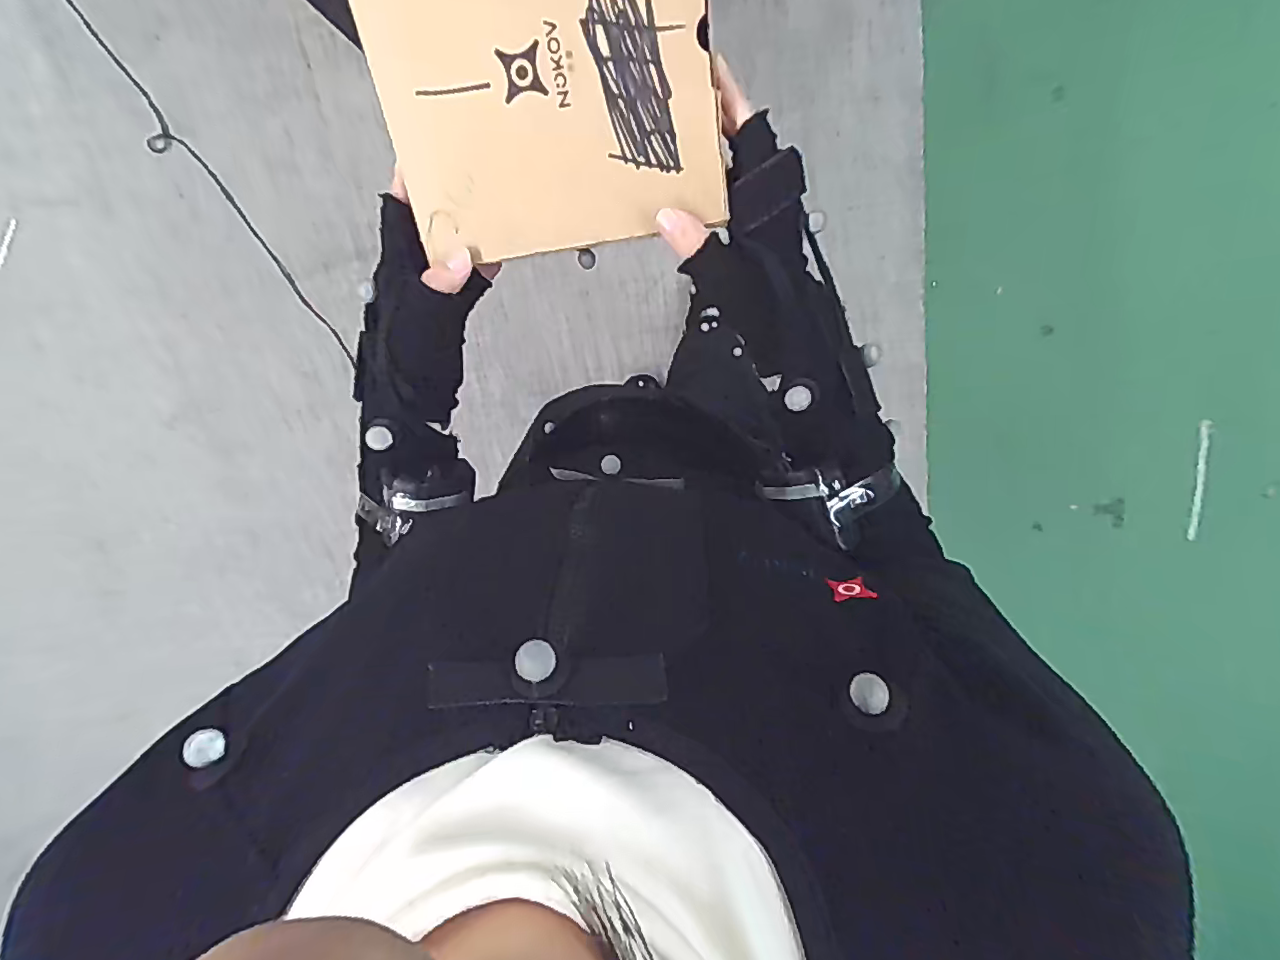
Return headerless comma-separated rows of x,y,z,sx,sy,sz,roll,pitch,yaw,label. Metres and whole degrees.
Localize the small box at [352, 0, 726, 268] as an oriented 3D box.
-0.043,-0.243,0.345,0.179,0.176,0.168,-5,116,10,small box
